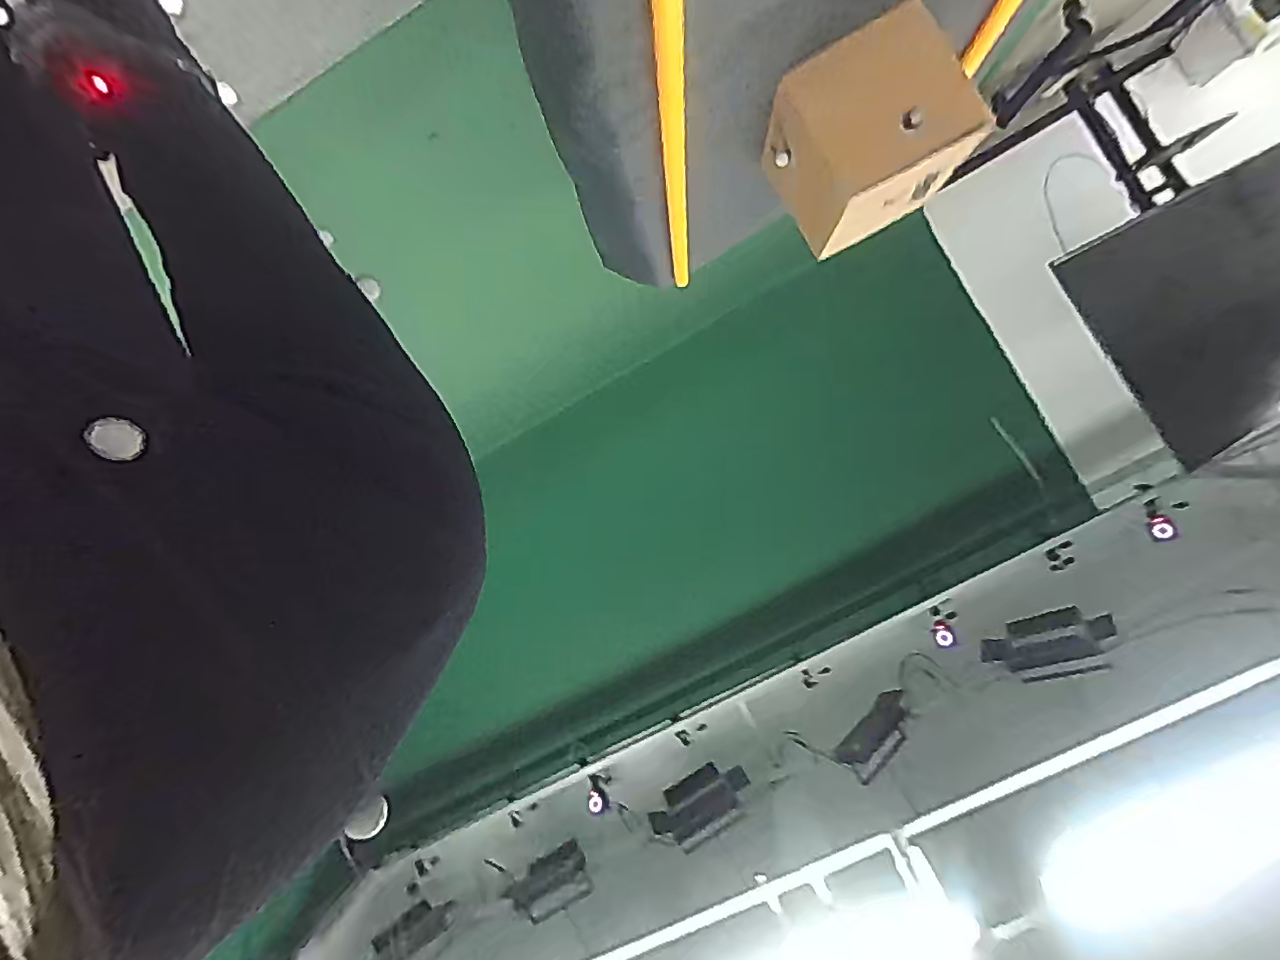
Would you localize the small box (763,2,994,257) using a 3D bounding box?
[{"bbox_3d":[0.281,-0.427,0.678,0.179,0.176,0.168,-29,176,5],"label":"small box"}]
